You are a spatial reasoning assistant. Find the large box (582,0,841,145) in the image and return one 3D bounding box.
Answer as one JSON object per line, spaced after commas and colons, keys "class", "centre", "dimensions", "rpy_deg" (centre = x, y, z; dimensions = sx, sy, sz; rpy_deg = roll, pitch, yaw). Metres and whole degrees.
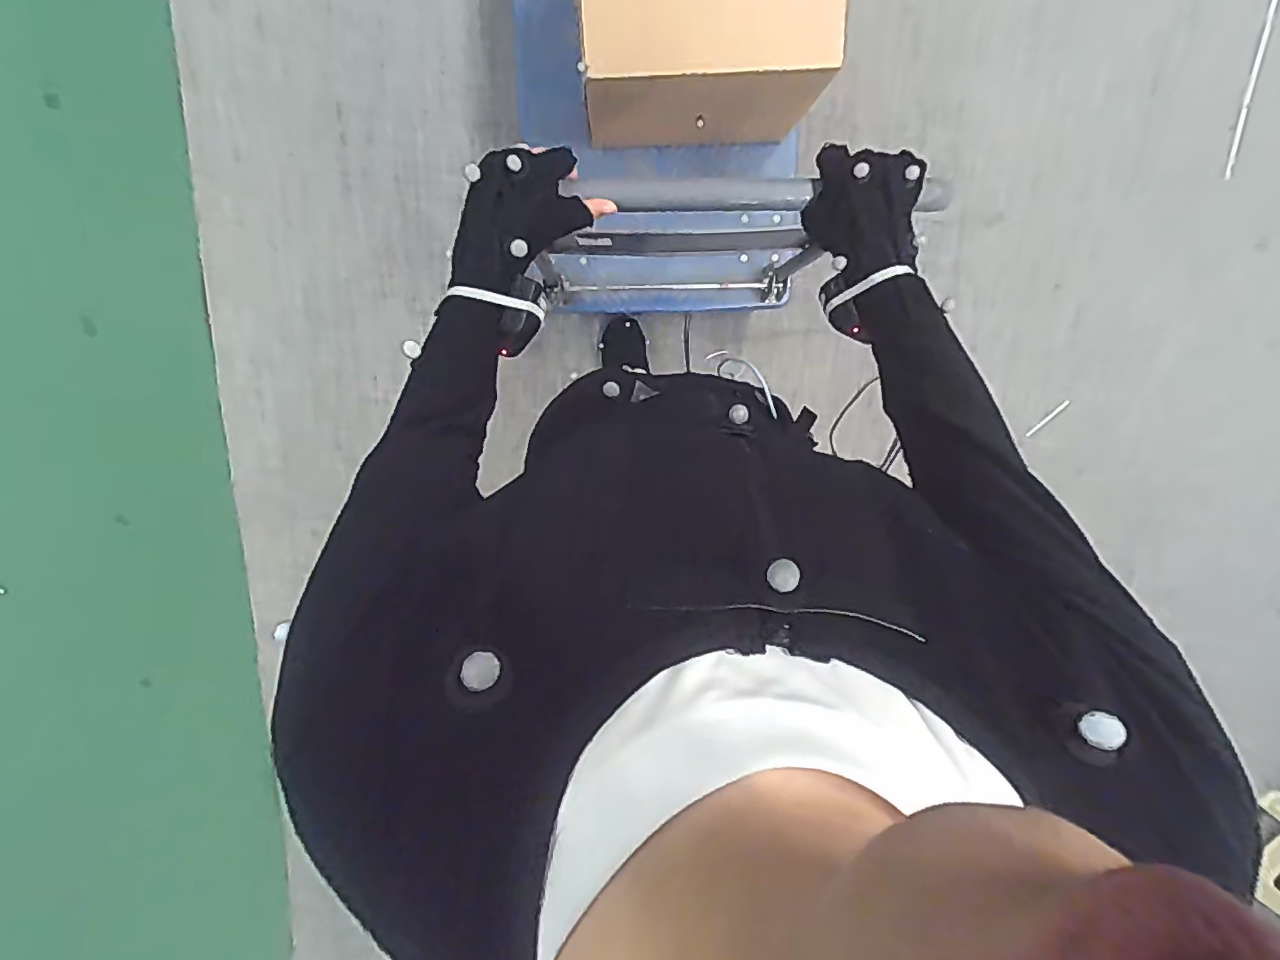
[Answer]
{"class": "large box", "centre": [0.106, -0.823, 0.957], "dimensions": [0.408, 0.320, 0.320], "rpy_deg": [-4, 104, 0]}
